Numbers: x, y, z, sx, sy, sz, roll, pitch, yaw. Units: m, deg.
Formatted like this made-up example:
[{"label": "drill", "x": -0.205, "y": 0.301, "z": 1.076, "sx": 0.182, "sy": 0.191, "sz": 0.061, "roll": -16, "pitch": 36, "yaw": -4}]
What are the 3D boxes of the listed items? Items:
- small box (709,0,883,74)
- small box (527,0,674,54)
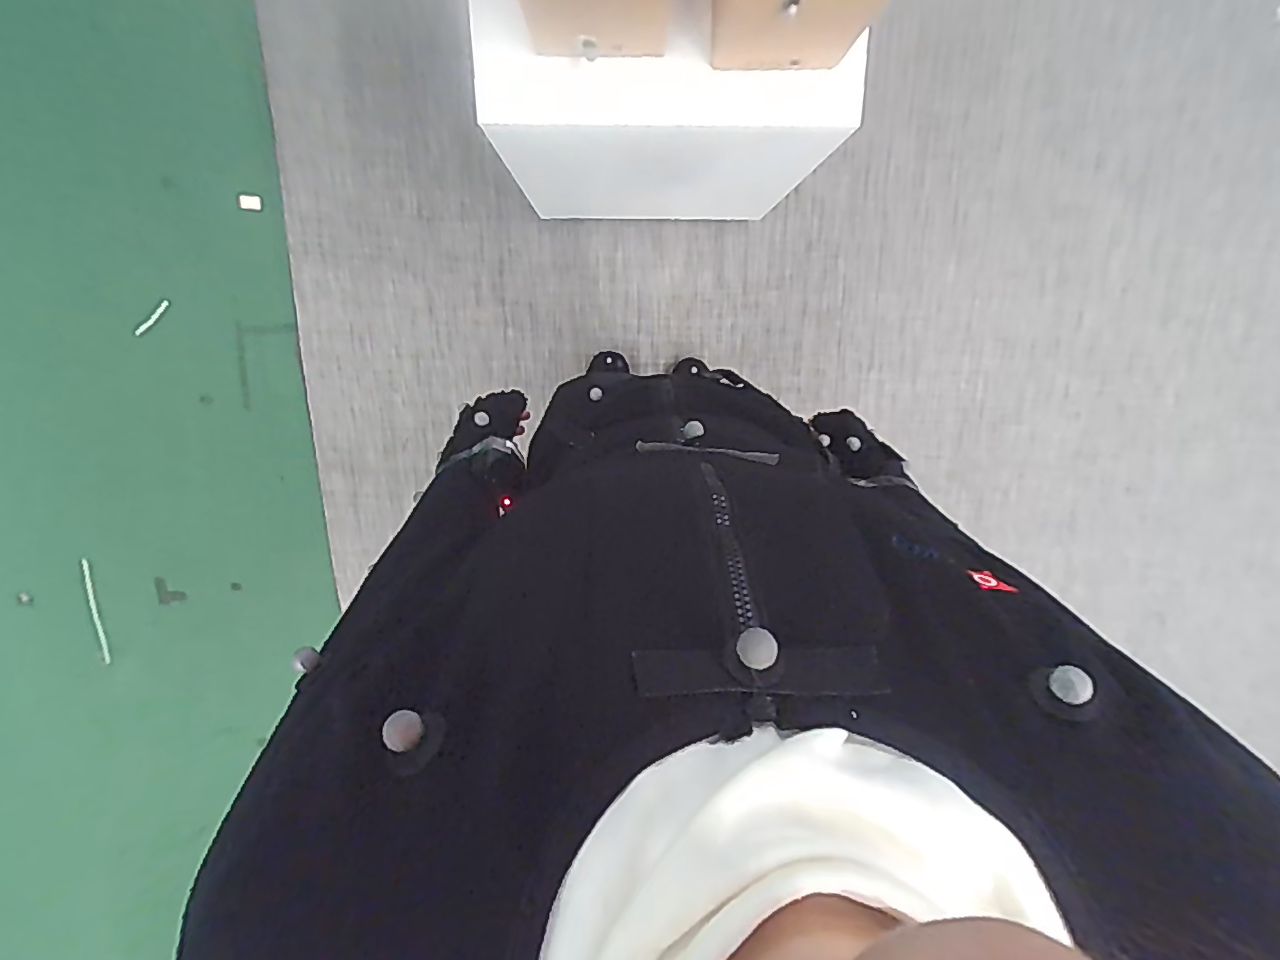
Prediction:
[{"label": "small box", "x": 0.172, "y": -0.598, "z": 0.604, "sx": 0.168, "sy": 0.176, "sz": 0.179, "roll": 0, "pitch": 103, "yaw": -1}, {"label": "small box", "x": -0.047, "y": -0.605, "z": 0.584, "sx": 0.168, "sy": 0.176, "sz": 0.179, "roll": -2, "pitch": 105, "yaw": 0}]
